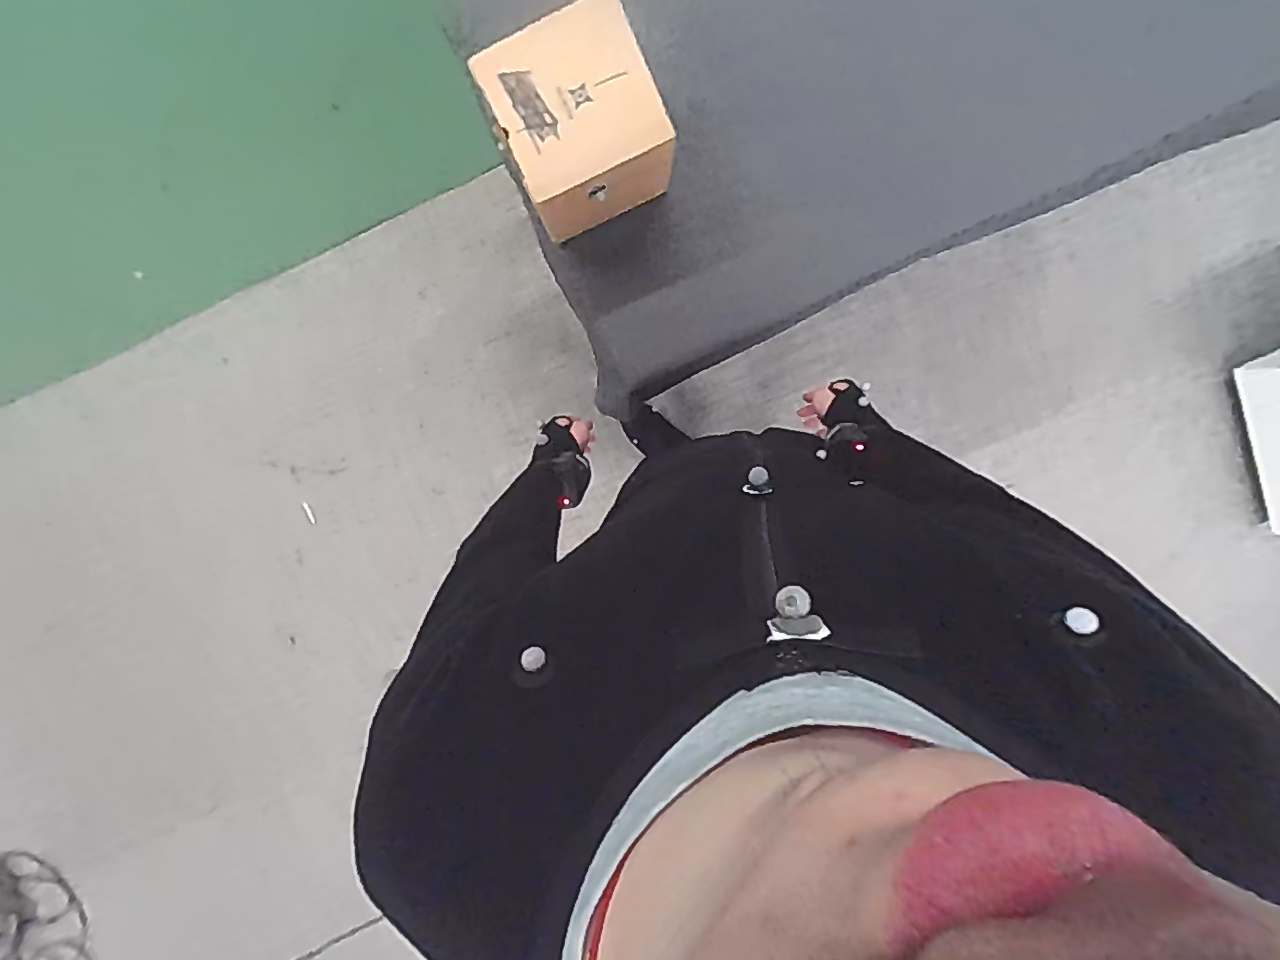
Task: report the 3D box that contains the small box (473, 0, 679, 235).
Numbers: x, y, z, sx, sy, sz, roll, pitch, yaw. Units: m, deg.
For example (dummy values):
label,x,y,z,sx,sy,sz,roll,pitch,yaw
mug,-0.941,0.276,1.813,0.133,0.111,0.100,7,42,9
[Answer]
label,x,y,z,sx,sy,sz,roll,pitch,yaw
small box,-0.069,-0.426,0.655,0.179,0.176,0.168,-25,100,2
